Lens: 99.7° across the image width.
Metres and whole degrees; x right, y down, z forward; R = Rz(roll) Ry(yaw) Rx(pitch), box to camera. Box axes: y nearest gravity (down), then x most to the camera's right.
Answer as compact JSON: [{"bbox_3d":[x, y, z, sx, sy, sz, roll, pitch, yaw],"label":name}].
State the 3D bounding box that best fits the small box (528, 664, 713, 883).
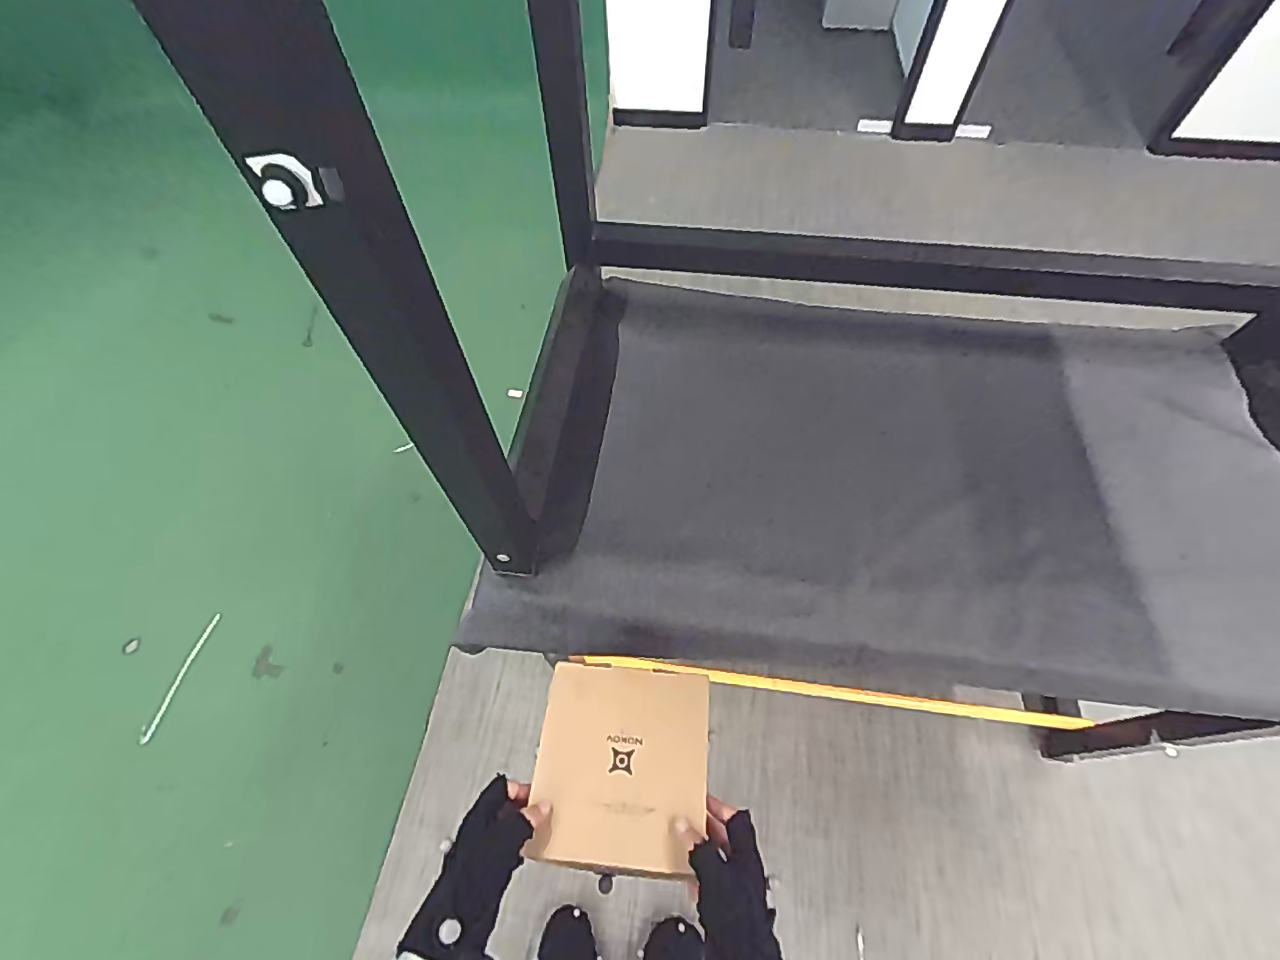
[{"bbox_3d":[-0.010,0.323,0.593,0.168,0.176,0.179,3,52,5],"label":"small box"}]
